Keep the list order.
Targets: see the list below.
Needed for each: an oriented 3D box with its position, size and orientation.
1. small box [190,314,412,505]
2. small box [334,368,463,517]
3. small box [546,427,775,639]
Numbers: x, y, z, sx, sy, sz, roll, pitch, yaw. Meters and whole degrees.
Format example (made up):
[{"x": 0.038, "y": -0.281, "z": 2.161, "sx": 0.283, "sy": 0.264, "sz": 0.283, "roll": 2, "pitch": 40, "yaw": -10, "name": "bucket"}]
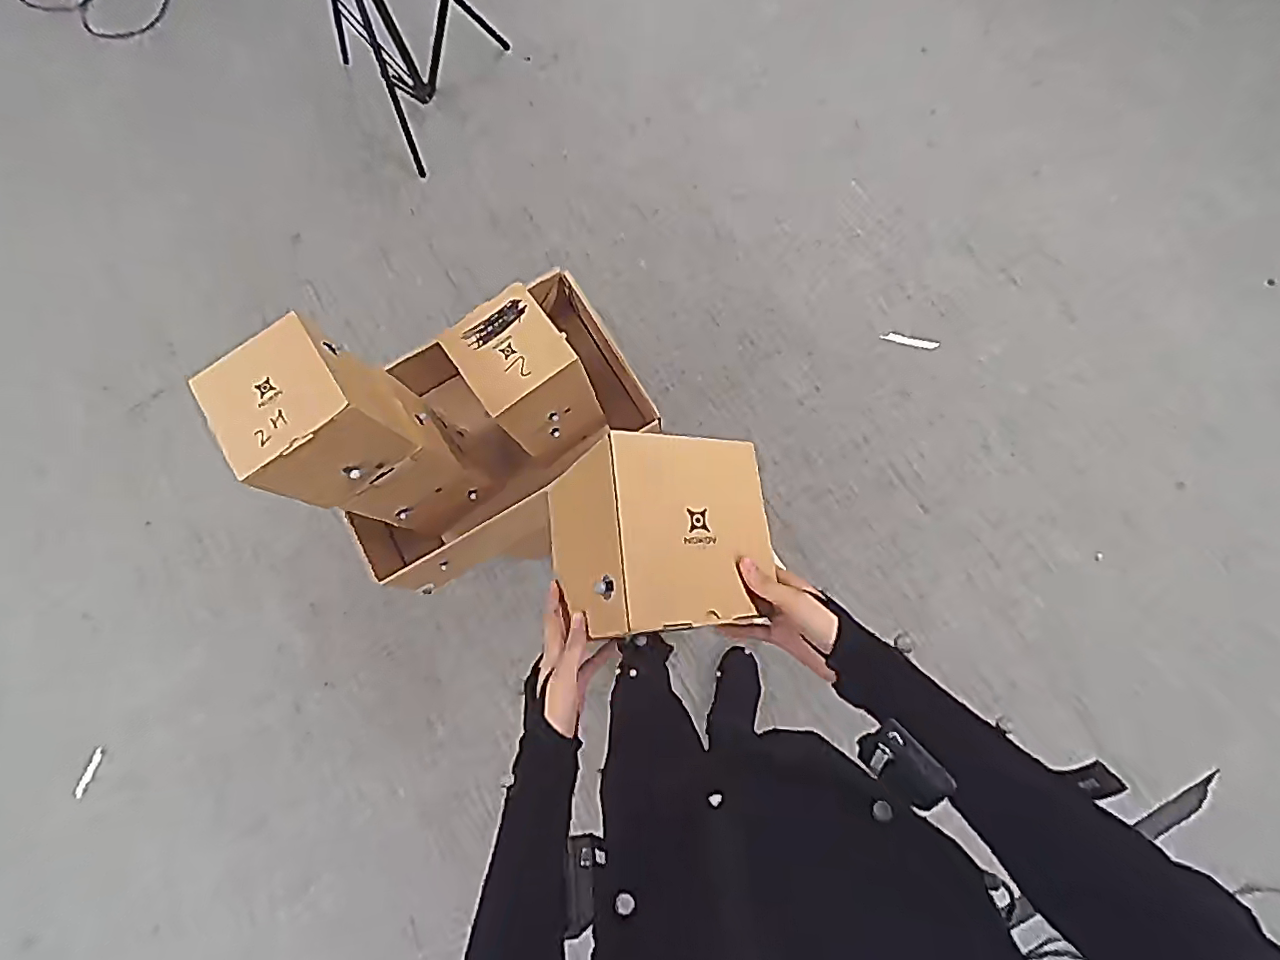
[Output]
[{"x": -0.462, "y": -0.088, "z": 0.760, "sx": 0.168, "sy": 0.176, "sz": 0.179, "roll": -36, "pitch": 75, "yaw": -3, "name": "small box"}, {"x": -0.432, "y": -0.051, "z": 0.919, "sx": 0.168, "sy": 0.176, "sz": 0.179, "roll": -34, "pitch": 75, "yaw": -3, "name": "small box"}, {"x": 0.009, "y": 0.063, "z": 0.558, "sx": 0.168, "sy": 0.176, "sz": 0.179, "roll": 2, "pitch": 72, "yaw": -29, "name": "small box"}]
